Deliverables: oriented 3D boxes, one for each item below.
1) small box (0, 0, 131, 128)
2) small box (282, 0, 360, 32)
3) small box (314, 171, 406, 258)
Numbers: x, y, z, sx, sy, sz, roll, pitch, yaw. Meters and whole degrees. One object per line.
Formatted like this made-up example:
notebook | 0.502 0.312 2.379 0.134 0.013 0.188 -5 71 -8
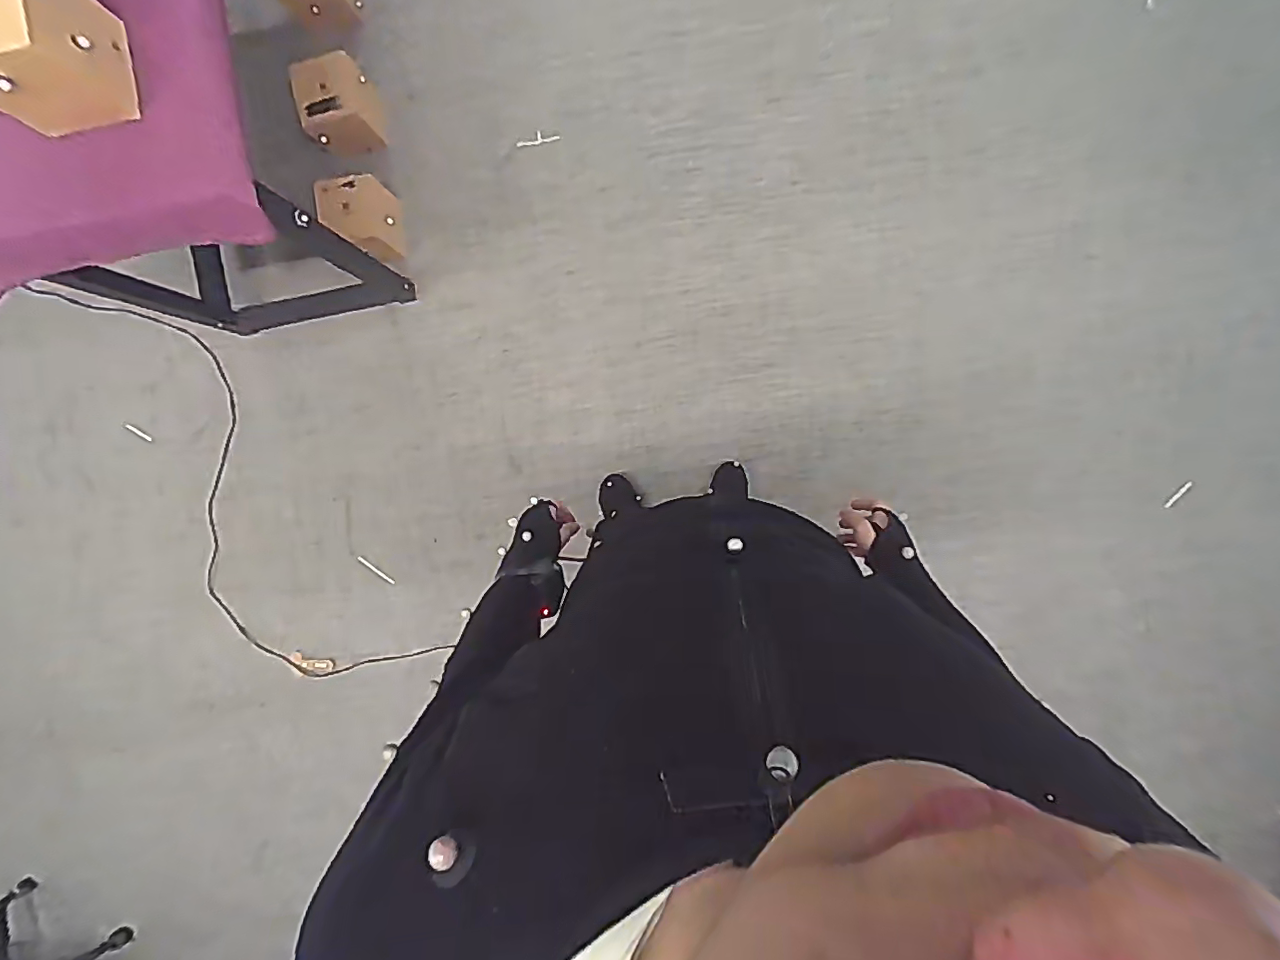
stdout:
small box | -0.954 -0.692 0.847 0.179 0.176 0.168 -8 93 5
small box | -0.924 -1.430 1.530 0.179 0.176 0.168 -12 92 5
small box | -0.799 -0.755 1.561 0.168 0.176 0.179 -6 93 4
